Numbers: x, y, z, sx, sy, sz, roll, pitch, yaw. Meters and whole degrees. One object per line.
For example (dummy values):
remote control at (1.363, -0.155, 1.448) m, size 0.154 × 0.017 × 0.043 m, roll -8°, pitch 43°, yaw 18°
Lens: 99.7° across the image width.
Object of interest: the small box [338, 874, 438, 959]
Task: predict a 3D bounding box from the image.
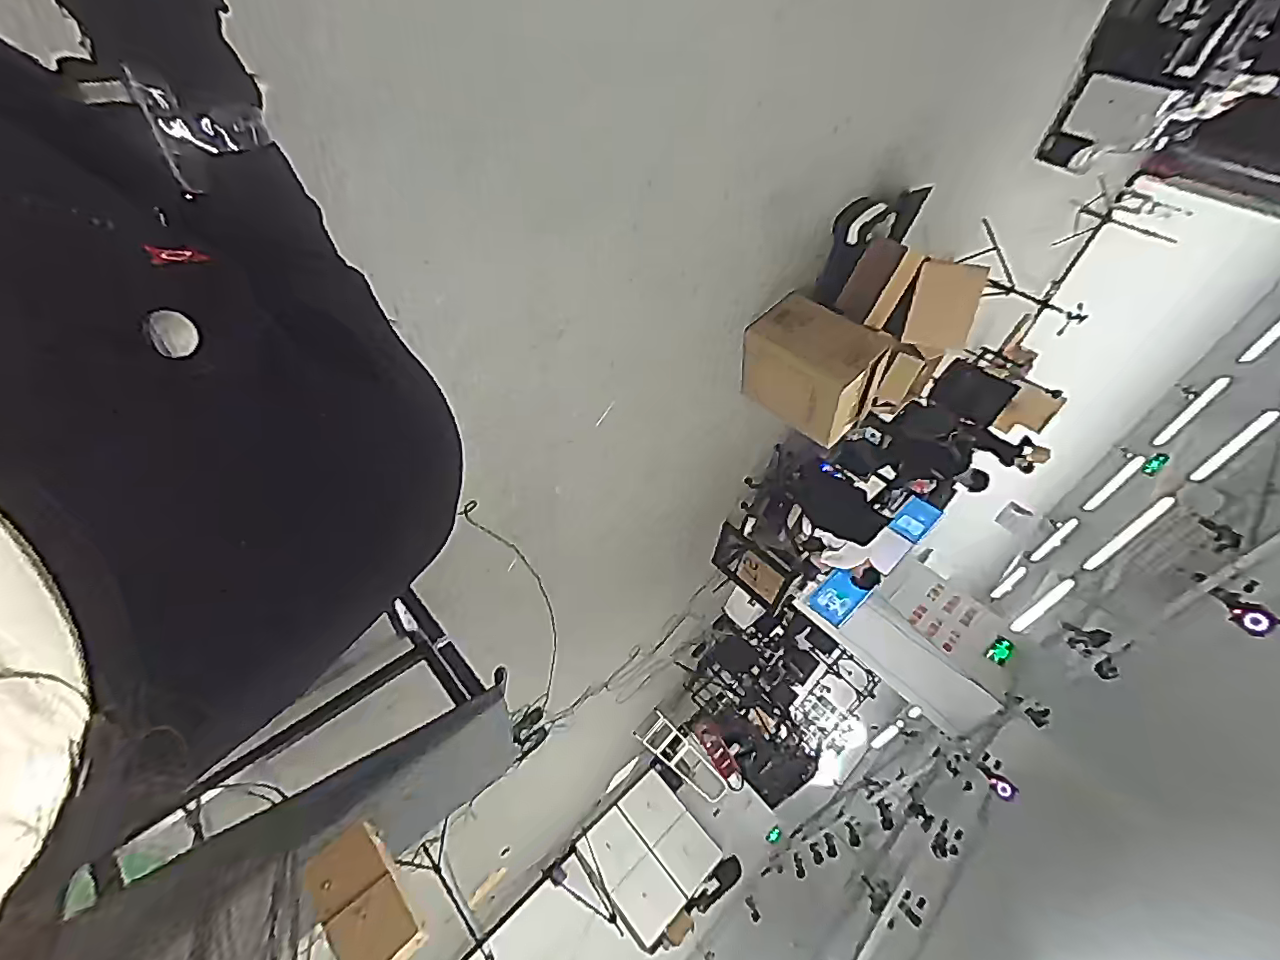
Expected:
small box at (-0.654, 1.176, 1.398) m, size 0.179 × 0.176 × 0.168 m, roll -30°, pitch 148°, yaw -32°

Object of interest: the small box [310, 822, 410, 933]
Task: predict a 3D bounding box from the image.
small box at (-0.767, 1.087, 1.476) m, size 0.179 × 0.176 × 0.168 m, roll -34°, pitch 150°, yaw -31°
